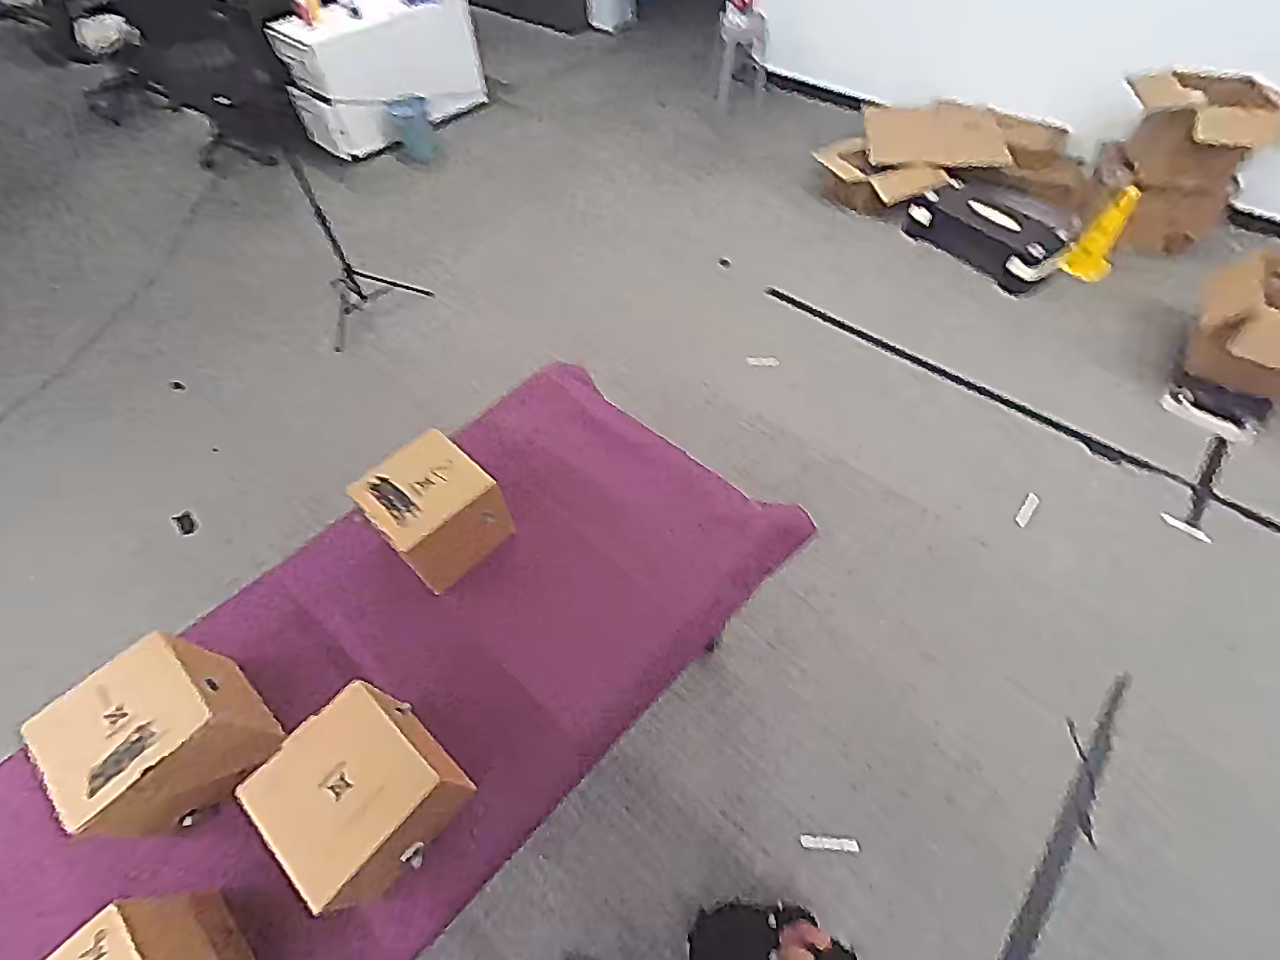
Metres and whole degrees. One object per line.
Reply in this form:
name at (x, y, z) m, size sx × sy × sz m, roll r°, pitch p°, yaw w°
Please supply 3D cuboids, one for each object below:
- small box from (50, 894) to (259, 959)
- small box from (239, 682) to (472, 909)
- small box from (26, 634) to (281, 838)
small box at (-0.543, 0.584, 0.568) m, size 0.168 × 0.176 × 0.179 m, roll 36°, pitch 64°, yaw 22°
small box at (-0.349, 0.399, 0.694) m, size 0.179 × 0.176 × 0.168 m, roll 36°, pitch 64°, yaw 21°
small box at (-0.641, 0.347, 0.735) m, size 0.179 × 0.176 × 0.168 m, roll 35°, pitch 63°, yaw 23°
